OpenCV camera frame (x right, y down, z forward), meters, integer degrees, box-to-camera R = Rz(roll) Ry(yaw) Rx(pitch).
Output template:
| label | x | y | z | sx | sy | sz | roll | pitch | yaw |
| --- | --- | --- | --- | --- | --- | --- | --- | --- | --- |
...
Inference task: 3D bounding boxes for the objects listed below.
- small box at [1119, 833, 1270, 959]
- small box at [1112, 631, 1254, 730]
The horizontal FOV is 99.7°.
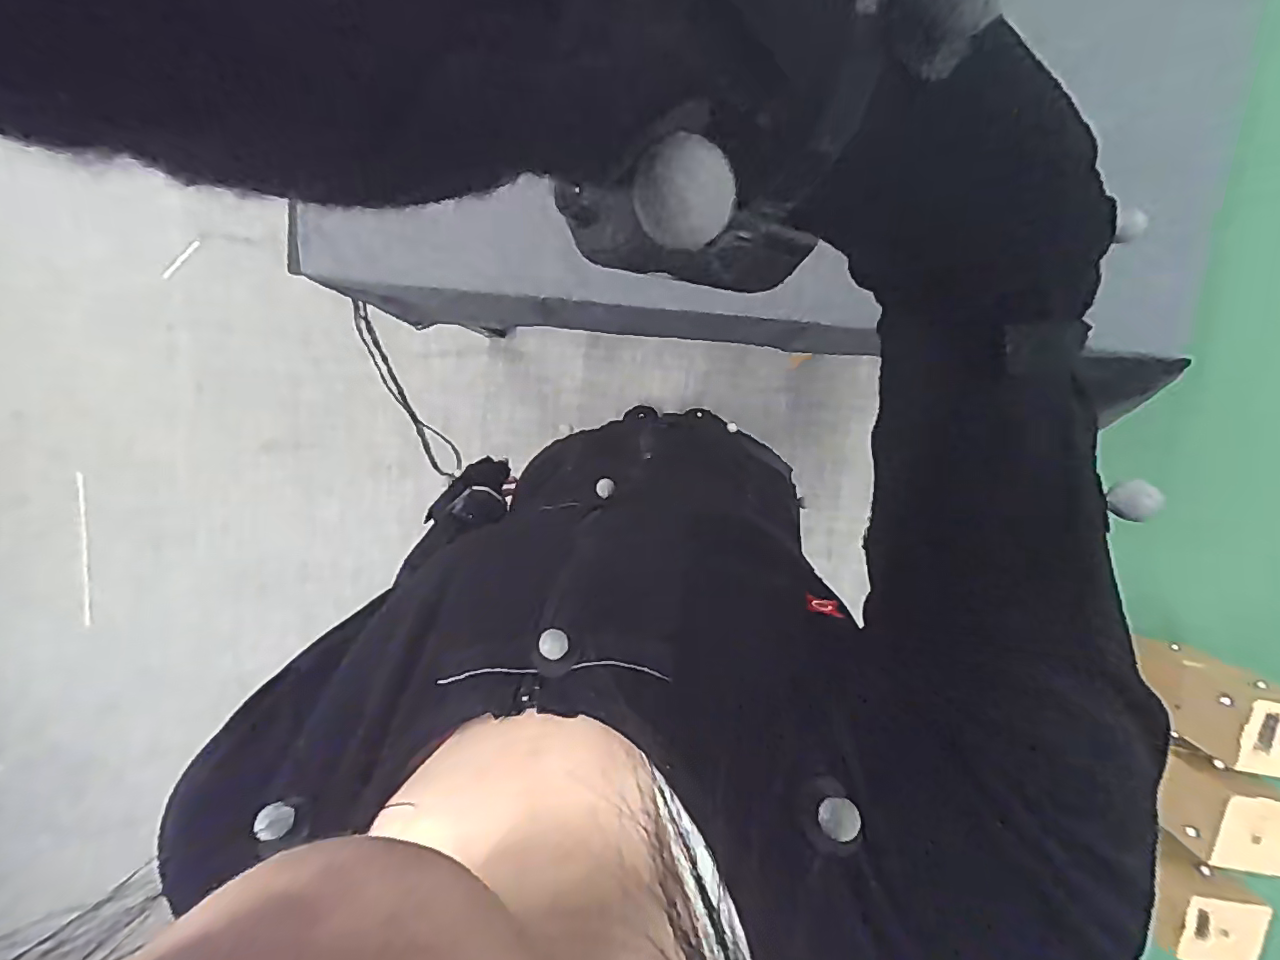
| label | x | y | z | sx | sy | sz | roll | pitch | yaw |
| --- | --- | --- | --- | --- | --- | --- | --- | --- | --- |
| small box | 1.309 | 0.985 | 1.293 | 0.179 | 0.176 | 0.168 | 6 | 98 | 3 |
| small box | 1.384 | 0.507 | 1.393 | 0.179 | 0.176 | 0.168 | 11 | 98 | 2 |
